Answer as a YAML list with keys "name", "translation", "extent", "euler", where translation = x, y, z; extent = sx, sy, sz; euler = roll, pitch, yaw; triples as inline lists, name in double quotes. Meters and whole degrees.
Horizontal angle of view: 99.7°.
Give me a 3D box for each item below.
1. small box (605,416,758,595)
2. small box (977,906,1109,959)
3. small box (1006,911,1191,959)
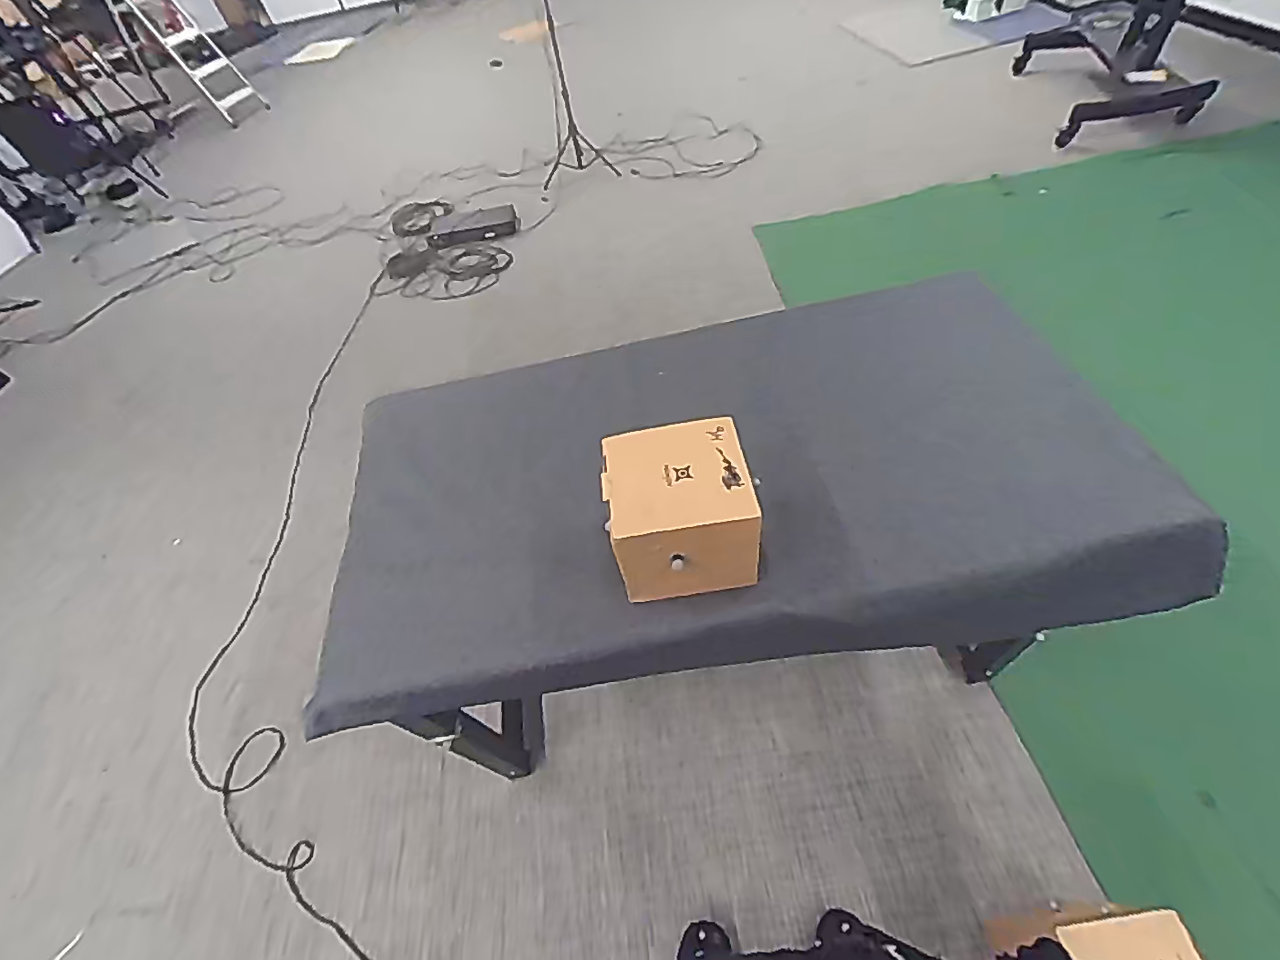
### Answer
- name: "small box"
  translation: [0.056, 0.041, 0.730]
  extent: [0.179, 0.176, 0.168]
  euler: [-9, 51, 3]
- name: "small box"
  translation: [0.729, 0.850, 0.930]
  extent: [0.179, 0.176, 0.168]
  euler: [-13, 51, 1]
- name: "small box"
  translation: [0.696, 0.753, 0.800]
  extent: [0.179, 0.176, 0.168]
  euler: [-10, 51, 3]
